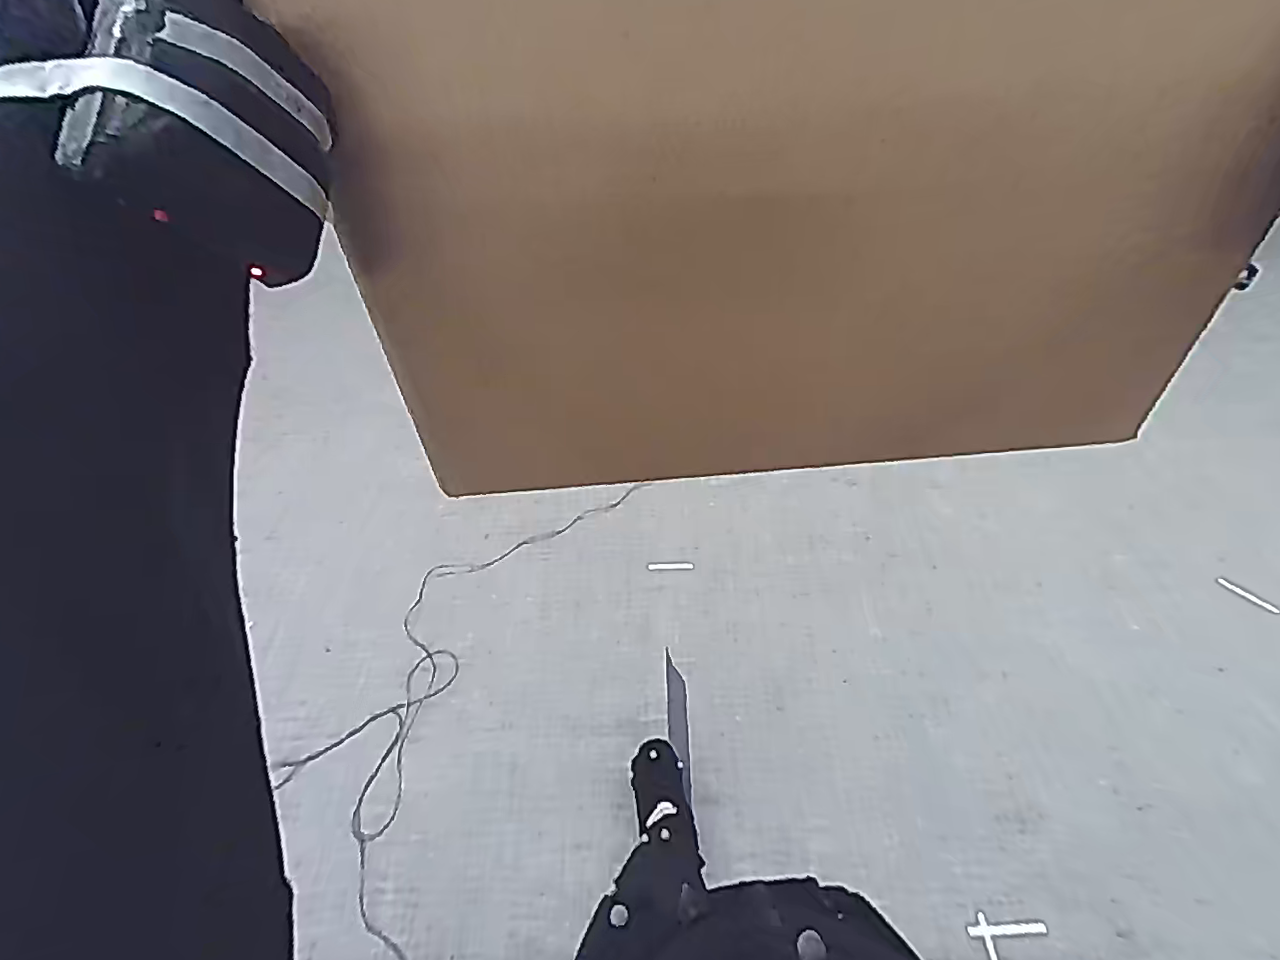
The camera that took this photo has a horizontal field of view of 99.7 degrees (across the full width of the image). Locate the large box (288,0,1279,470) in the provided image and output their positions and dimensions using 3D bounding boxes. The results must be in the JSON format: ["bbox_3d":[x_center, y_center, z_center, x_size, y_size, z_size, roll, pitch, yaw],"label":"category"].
[{"bbox_3d":[0.065,-0.229,0.341,0.408,0.320,0.320,-4,41,-1],"label":"large box"}]
